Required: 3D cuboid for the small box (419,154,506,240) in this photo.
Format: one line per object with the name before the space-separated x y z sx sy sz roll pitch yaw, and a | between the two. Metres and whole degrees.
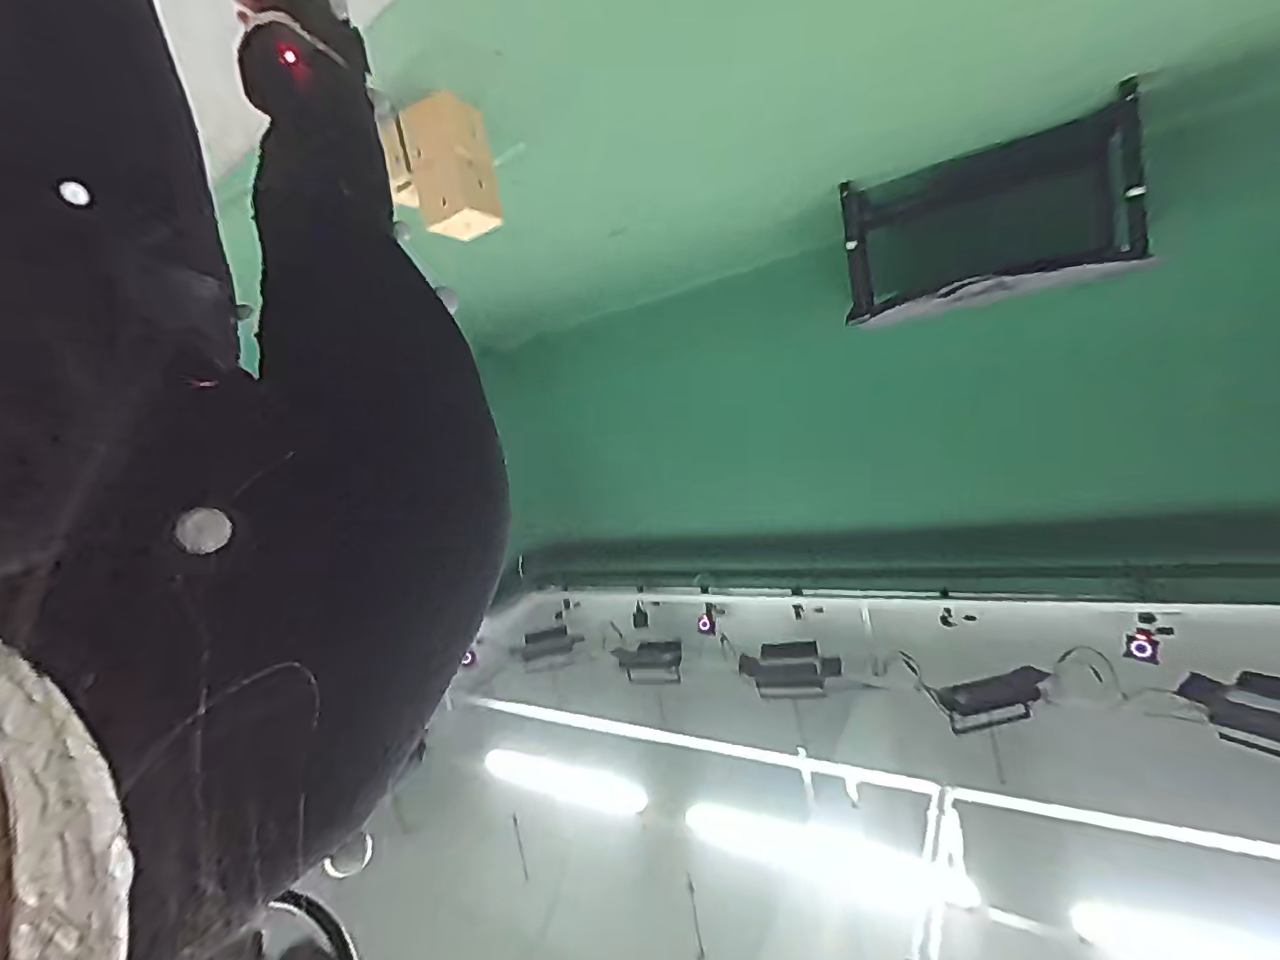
small box | -0.538 -0.852 1.635 0.179 0.176 0.168 -7 -173 29
